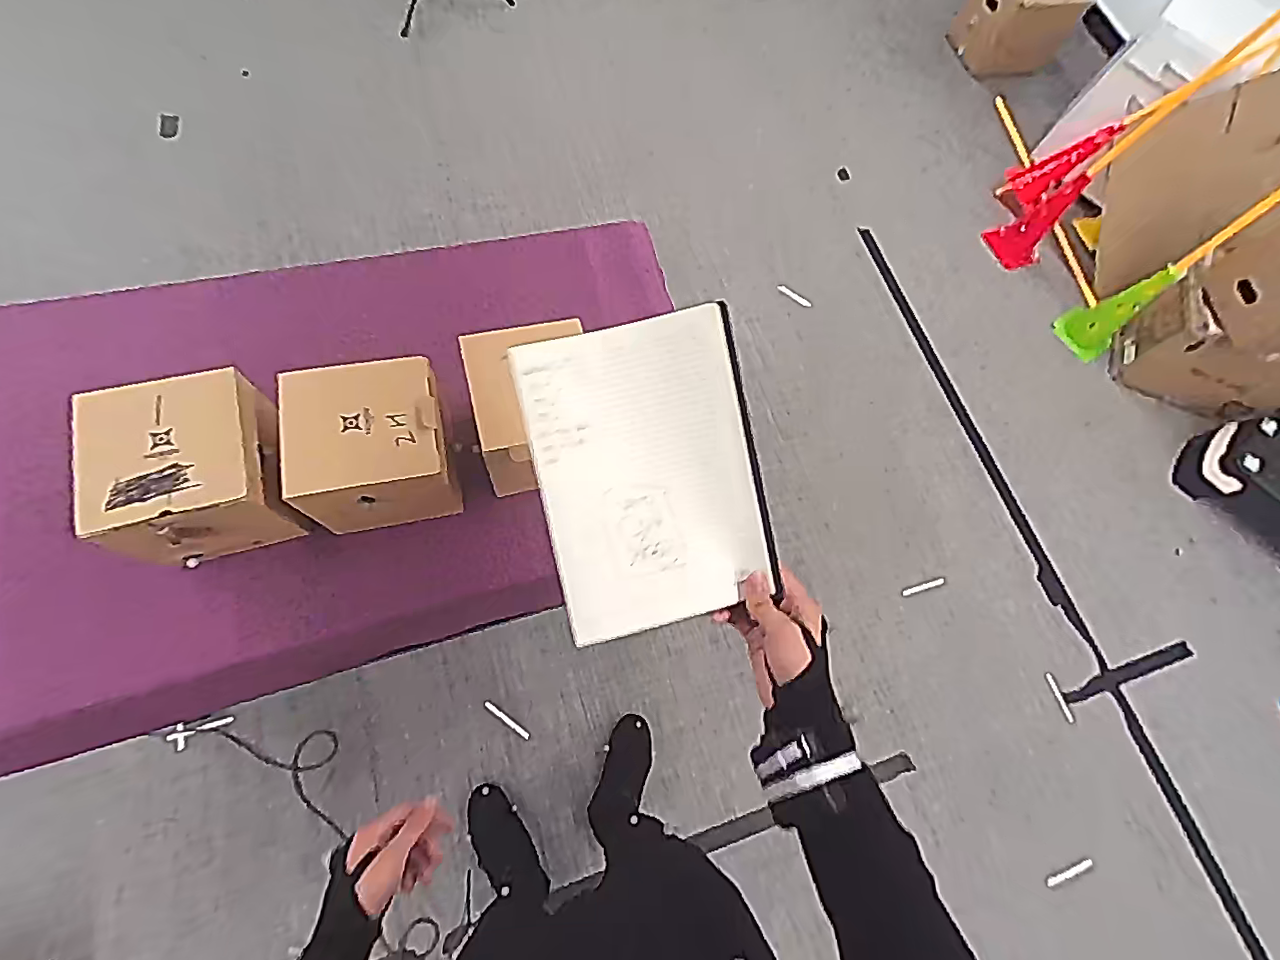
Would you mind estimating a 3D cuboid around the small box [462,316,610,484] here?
[{"bbox_3d":[-0.146,-0.104,0.775,0.168,0.176,0.179,-12,72,-13],"label":"small box"}]
